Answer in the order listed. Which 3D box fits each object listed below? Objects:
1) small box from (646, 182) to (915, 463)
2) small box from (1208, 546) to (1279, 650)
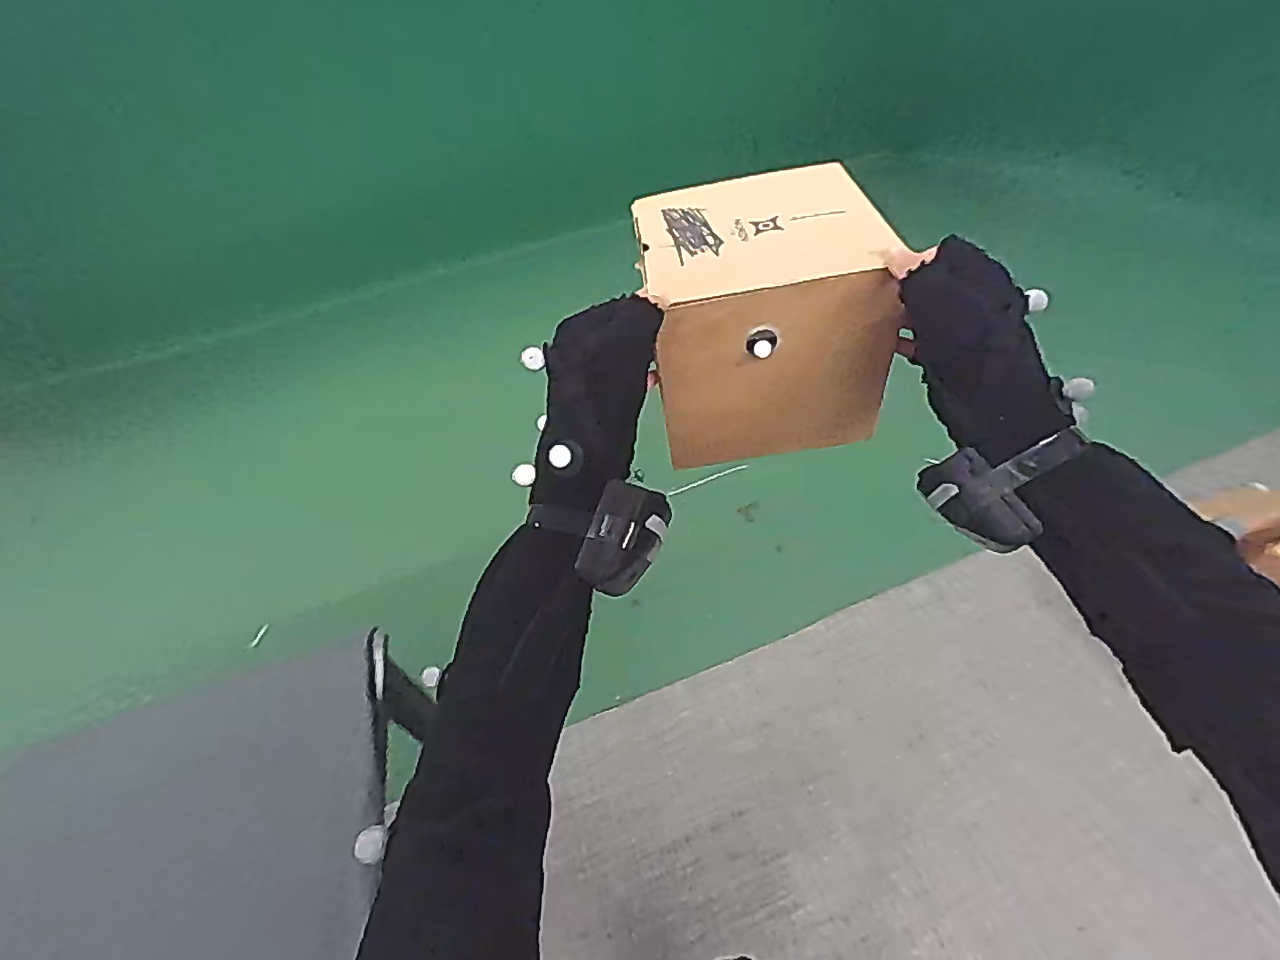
[{"bbox_3d":[0.106,-0.131,0.475,0.179,0.176,0.168,-7,49,3],"label":"small box"},{"bbox_3d":[1.459,0.260,1.202,0.168,0.176,0.179,-16,46,-7],"label":"small box"}]
